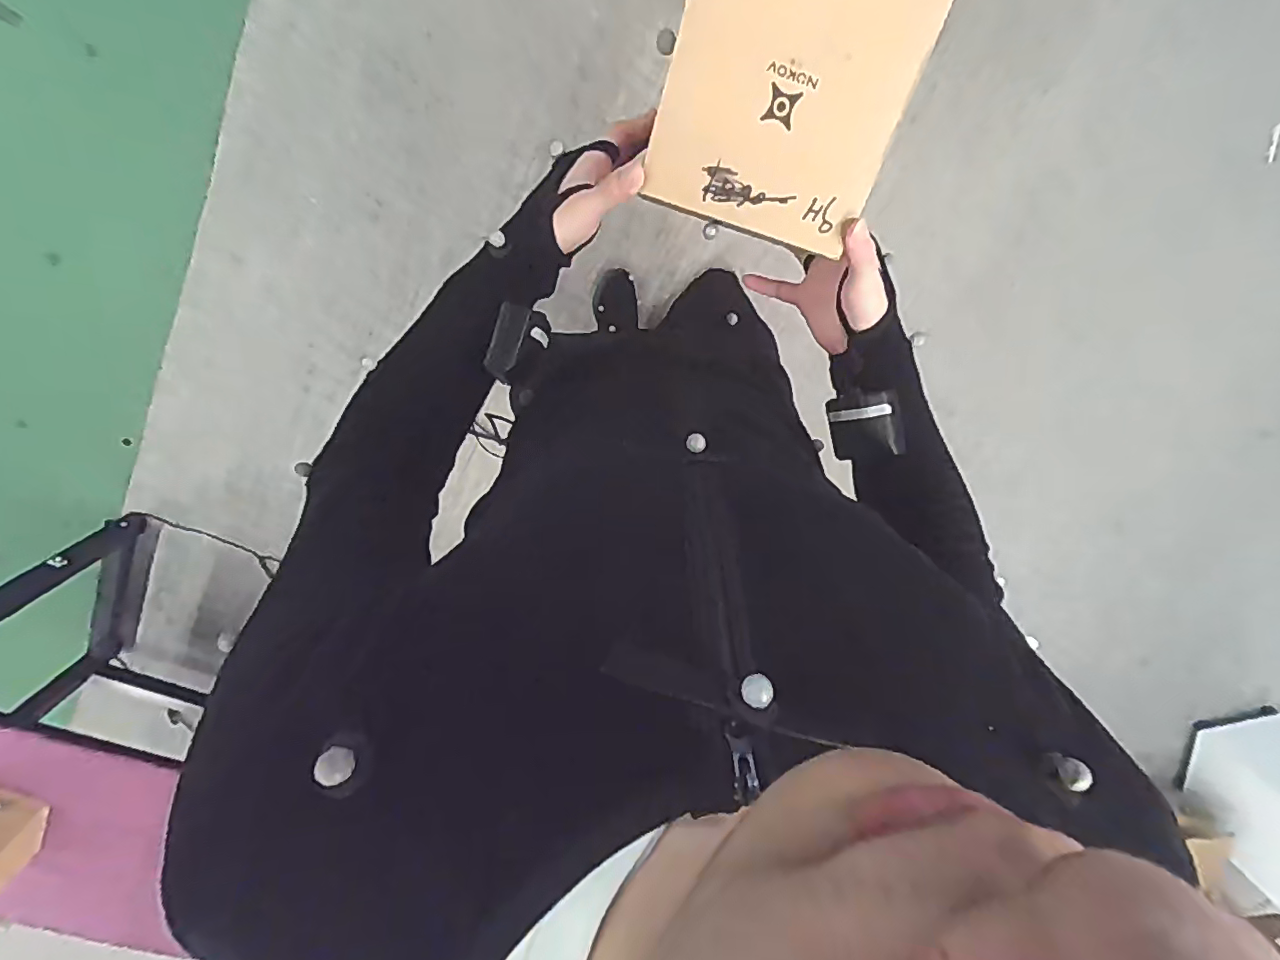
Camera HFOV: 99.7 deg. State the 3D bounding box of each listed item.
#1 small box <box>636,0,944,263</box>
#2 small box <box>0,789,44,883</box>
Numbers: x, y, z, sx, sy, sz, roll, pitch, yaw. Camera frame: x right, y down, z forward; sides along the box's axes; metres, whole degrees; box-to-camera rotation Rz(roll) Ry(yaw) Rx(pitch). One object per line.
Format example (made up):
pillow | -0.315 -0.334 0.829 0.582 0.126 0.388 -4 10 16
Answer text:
small box | 0.095 -0.298 0.443 0.168 0.176 0.179 15 115 -8
small box | -1.297 0.710 1.018 0.168 0.176 0.179 28 109 -16
